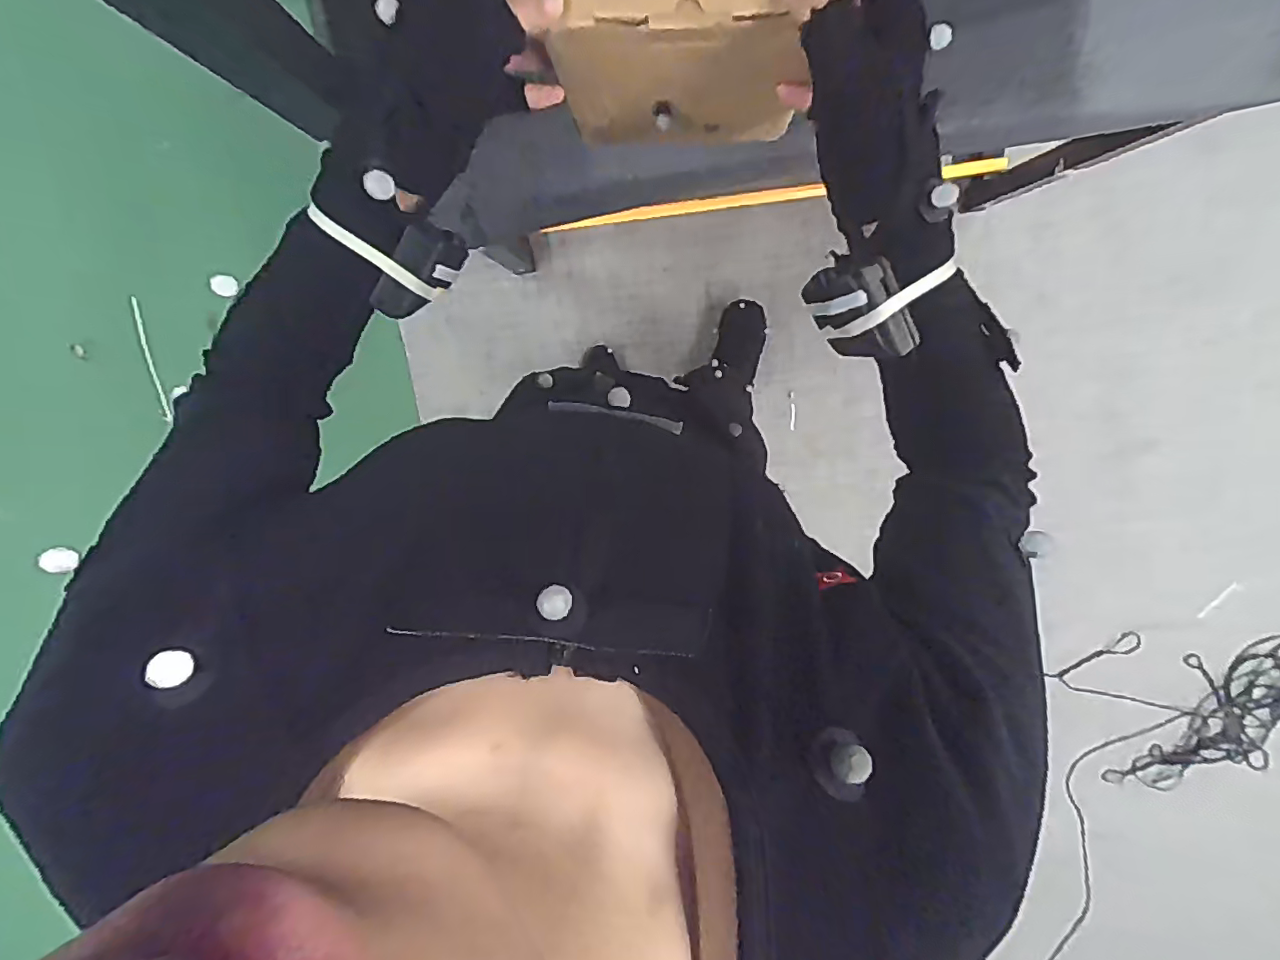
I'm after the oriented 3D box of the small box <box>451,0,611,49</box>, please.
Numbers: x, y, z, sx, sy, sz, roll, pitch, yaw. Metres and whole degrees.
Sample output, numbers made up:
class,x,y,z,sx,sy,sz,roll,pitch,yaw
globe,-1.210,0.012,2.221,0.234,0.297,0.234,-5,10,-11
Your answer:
class,x,y,z,sx,sy,sz,roll,pitch,yaw
small box,-0.120,-0.560,0.511,0.168,0.176,0.179,-7,103,2
